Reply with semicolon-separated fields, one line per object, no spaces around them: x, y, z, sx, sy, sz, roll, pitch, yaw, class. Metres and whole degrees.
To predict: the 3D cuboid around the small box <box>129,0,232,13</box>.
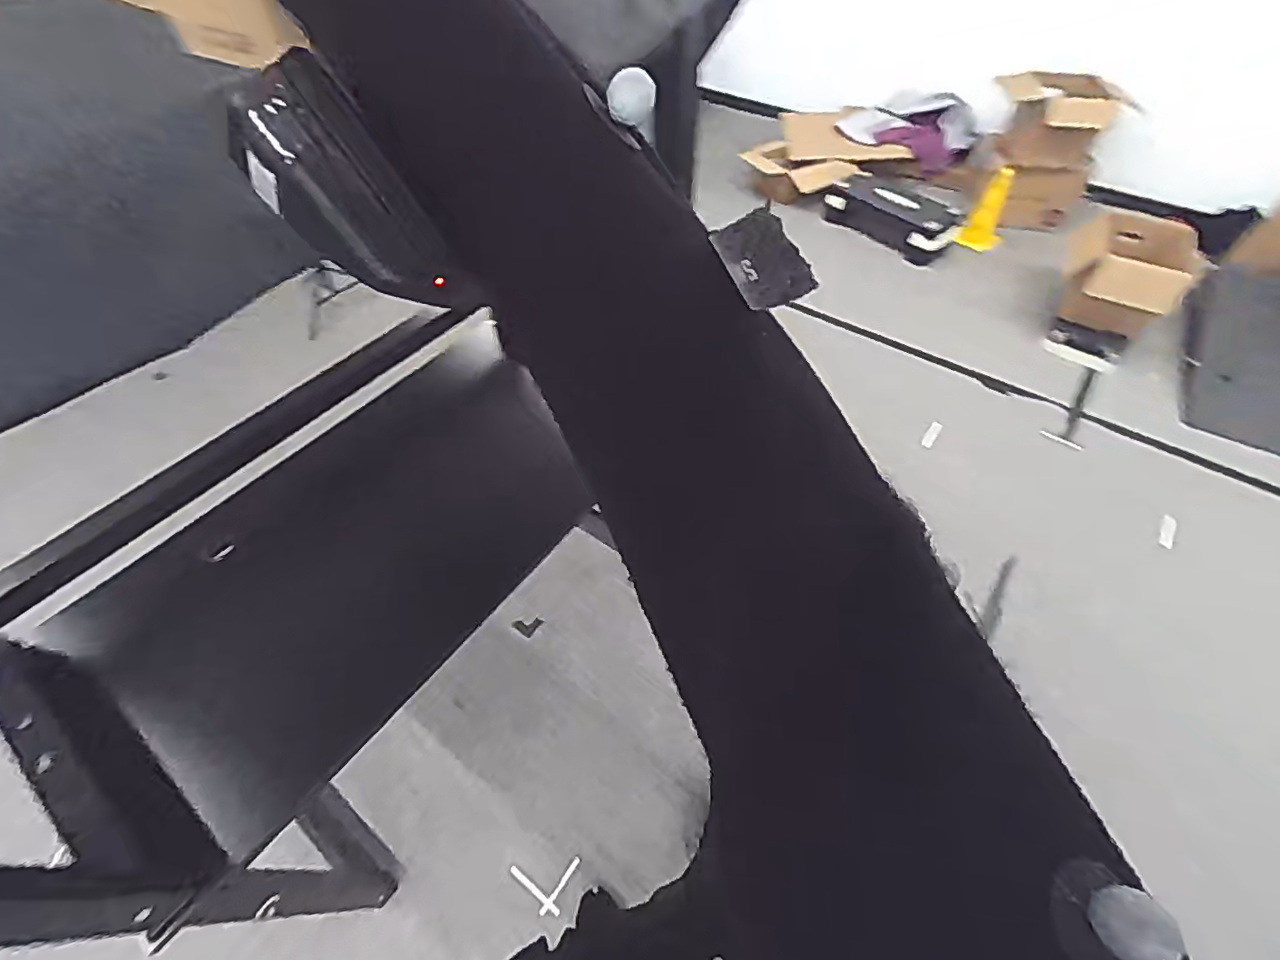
-0.509;-0.620;0.564;0.179;0.176;0.168;30;60;21;small box
